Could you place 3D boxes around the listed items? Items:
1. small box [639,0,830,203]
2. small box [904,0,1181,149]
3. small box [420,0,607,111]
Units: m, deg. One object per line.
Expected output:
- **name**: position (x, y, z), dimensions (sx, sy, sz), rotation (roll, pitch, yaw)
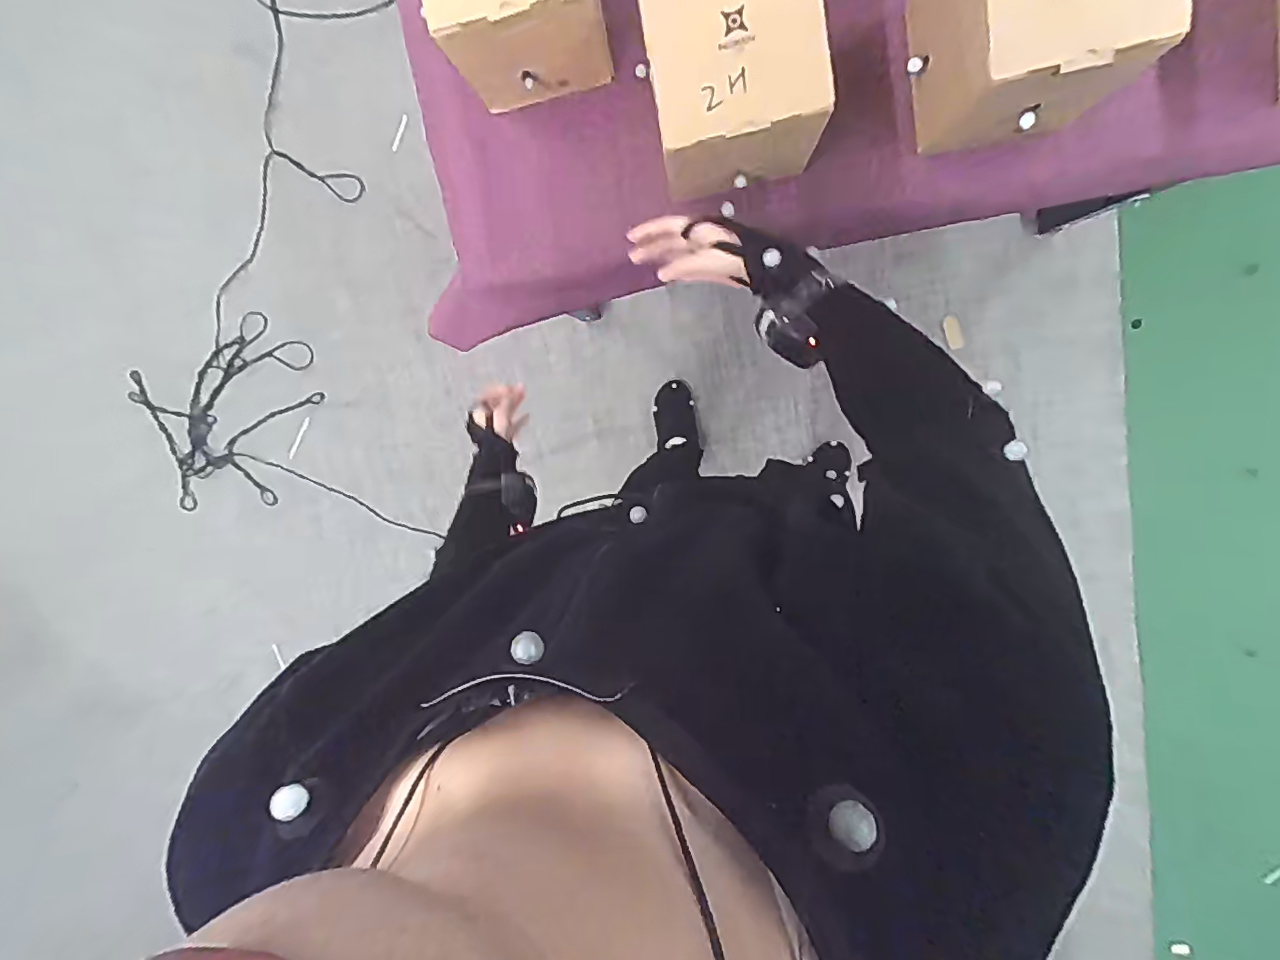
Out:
- **small box**: position (0.094, -0.432, 0.586), dimensions (0.168, 0.176, 0.179), rotation (-9, 99, 8)
- **small box**: position (0.389, -0.467, 0.550), dimensions (0.168, 0.176, 0.179), rotation (-9, 99, 7)
- **small box**: position (-0.139, -0.550, 0.588), dimensions (0.168, 0.176, 0.179), rotation (-10, 100, 7)
